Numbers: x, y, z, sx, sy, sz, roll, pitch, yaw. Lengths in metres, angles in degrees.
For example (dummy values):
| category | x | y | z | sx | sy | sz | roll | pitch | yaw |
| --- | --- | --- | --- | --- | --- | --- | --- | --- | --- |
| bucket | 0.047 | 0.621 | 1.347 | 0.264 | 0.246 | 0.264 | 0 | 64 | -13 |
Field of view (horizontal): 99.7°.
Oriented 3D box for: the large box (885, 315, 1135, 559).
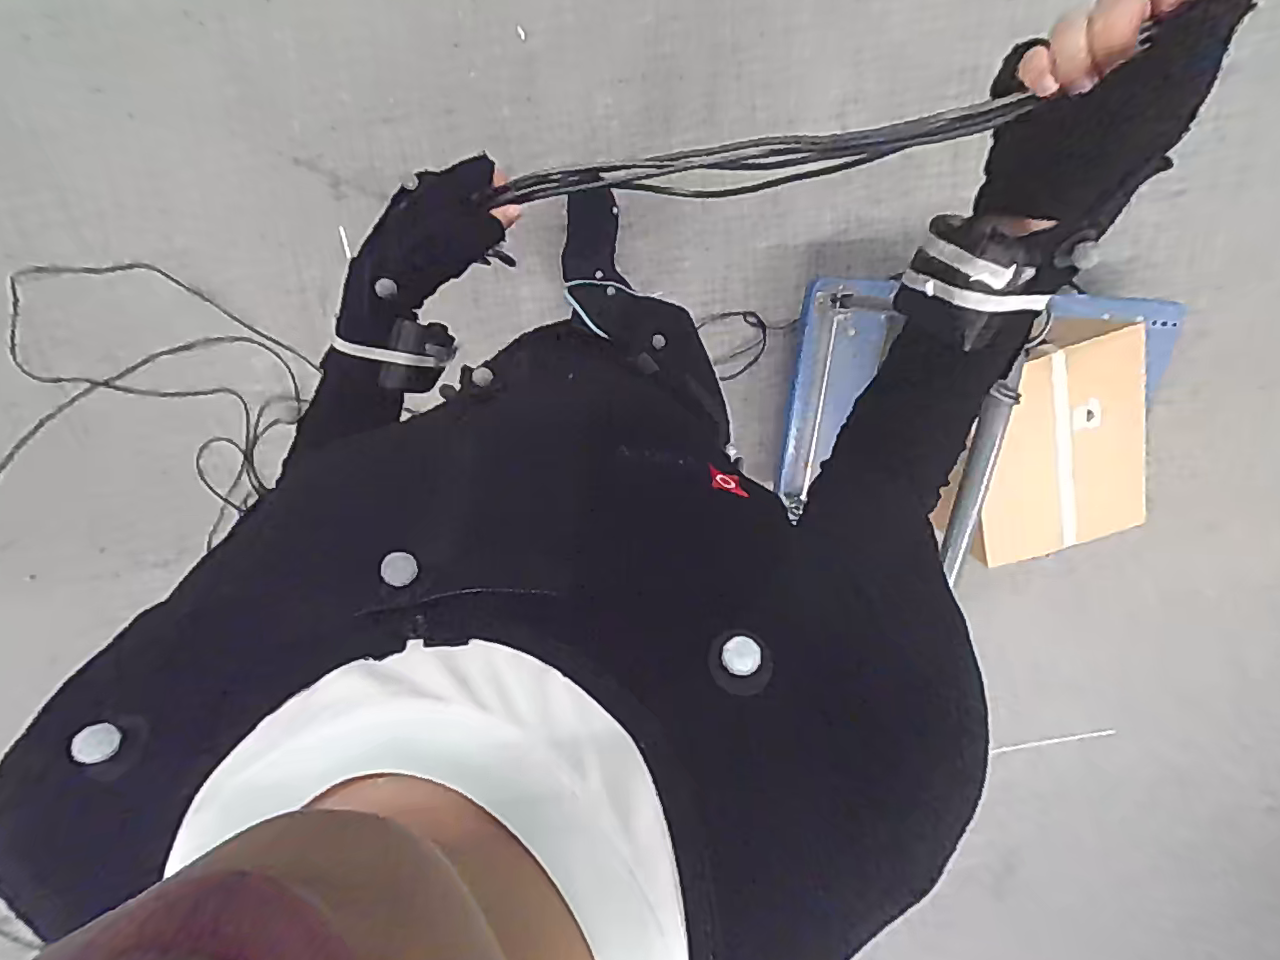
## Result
| category | x | y | z | sx | sy | sz | roll | pitch | yaw |
| --- | --- | --- | --- | --- | --- | --- | --- | --- | --- |
| large box | 0.770 | -0.106 | 1.161 | 0.320 | 0.320 | 0.408 | -17 | 109 | 4 |
